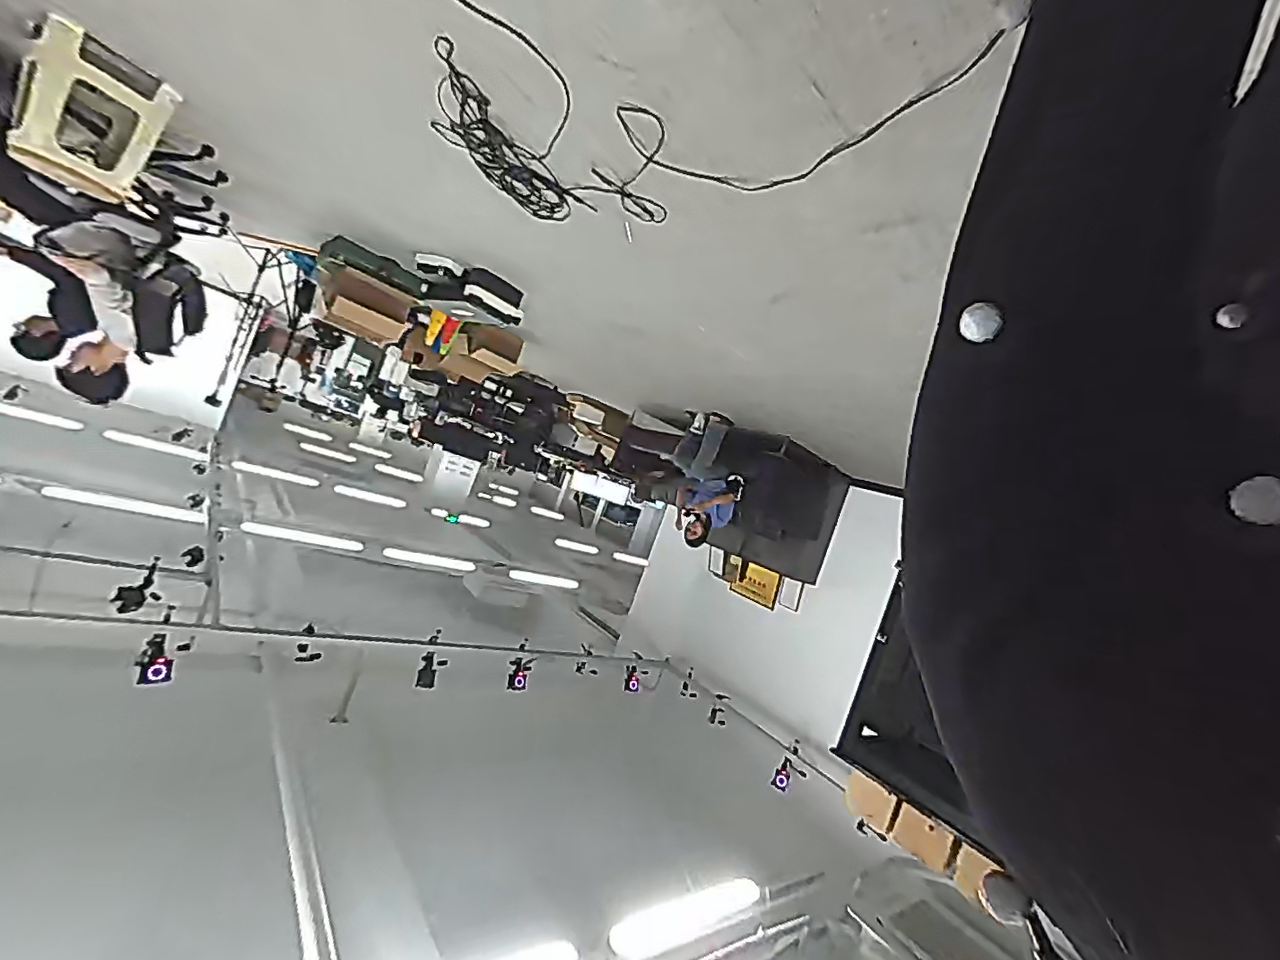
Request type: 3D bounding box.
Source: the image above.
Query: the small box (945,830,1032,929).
[{"bbox_3d":[1.086,1.226,1.678,0.179,0.176,0.168,21,179,-42],"label":"small box"}]

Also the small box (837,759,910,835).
[{"bbox_3d":[0.850,1.143,1.967,0.179,0.176,0.168,20,179,-43],"label":"small box"}]
